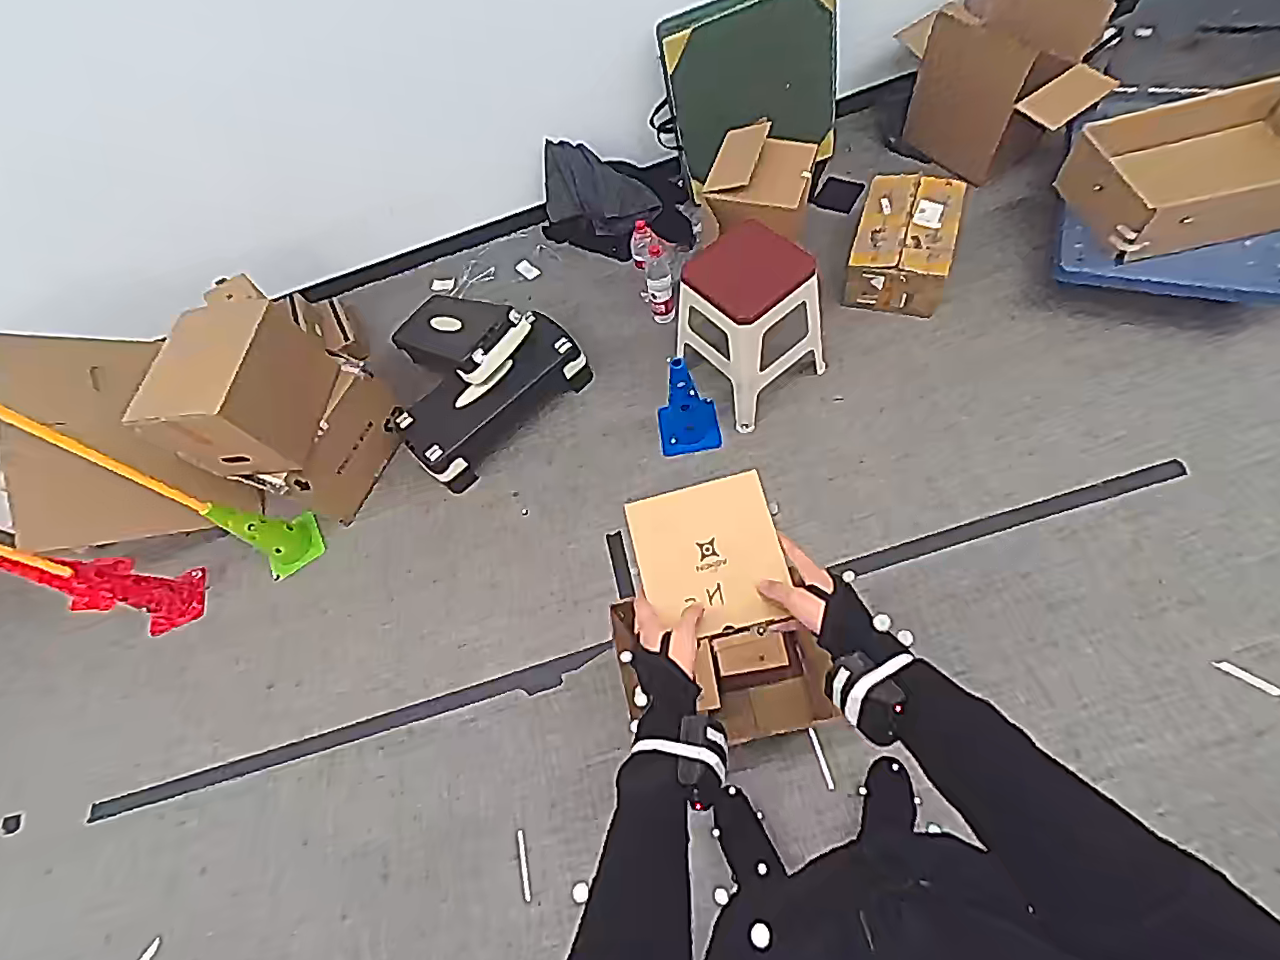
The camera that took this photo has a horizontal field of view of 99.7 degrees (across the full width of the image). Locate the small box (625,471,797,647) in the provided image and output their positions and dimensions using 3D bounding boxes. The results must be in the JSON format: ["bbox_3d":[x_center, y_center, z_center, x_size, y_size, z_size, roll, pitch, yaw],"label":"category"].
[{"bbox_3d":[0.087,0.110,0.699,0.168,0.176,0.179,-15,73,5],"label":"small box"}]
